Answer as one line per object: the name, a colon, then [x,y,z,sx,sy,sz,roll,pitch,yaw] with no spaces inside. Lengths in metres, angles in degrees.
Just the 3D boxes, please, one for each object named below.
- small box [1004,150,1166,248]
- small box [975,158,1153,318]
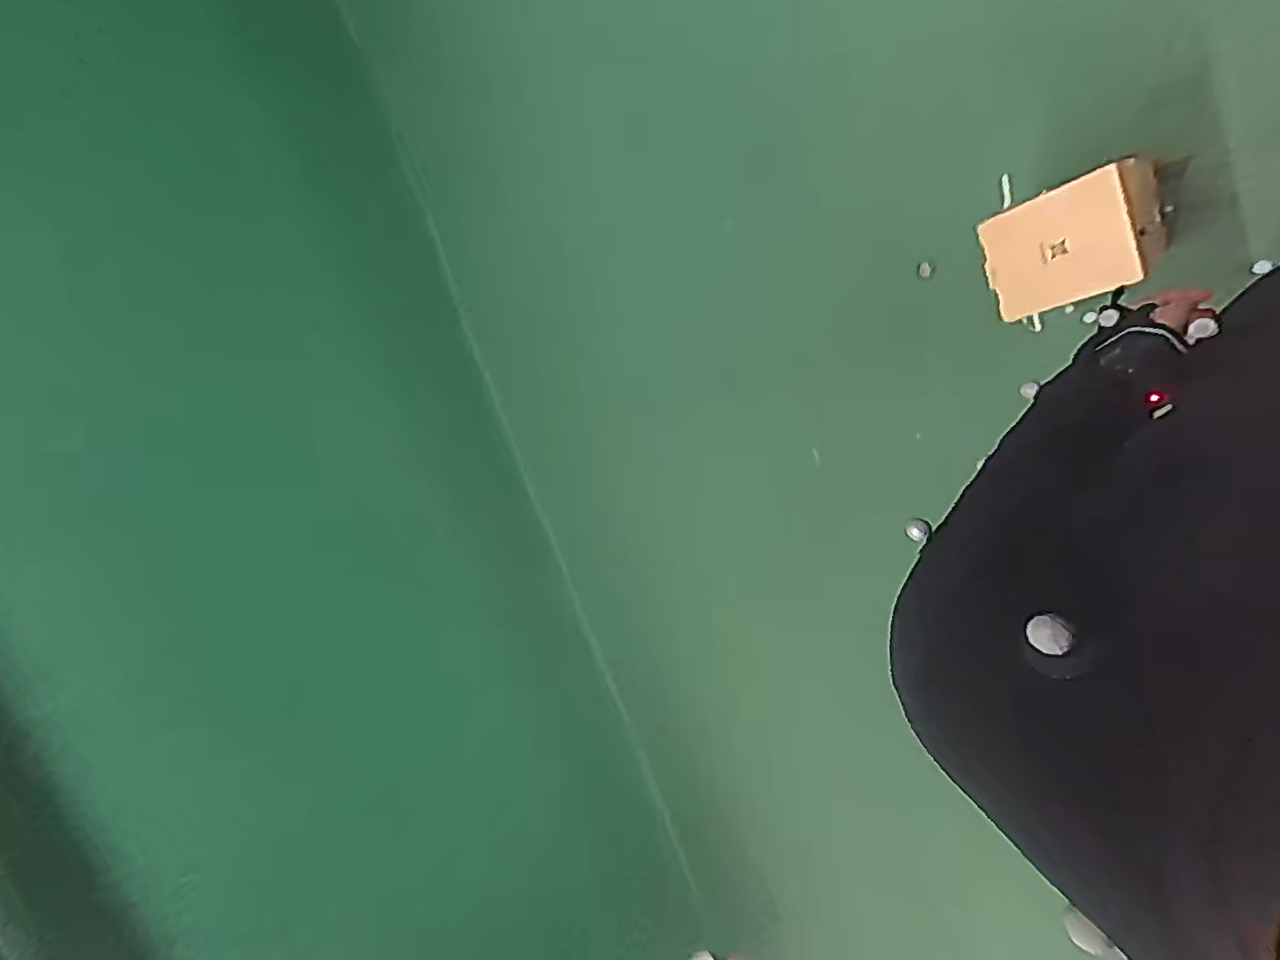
small box: [0.782,-0.449,0.952,0.179,0.176,0.168,-12,103,52]
small box: [0.672,-0.381,0.852,0.179,0.176,0.168,-13,103,53]
